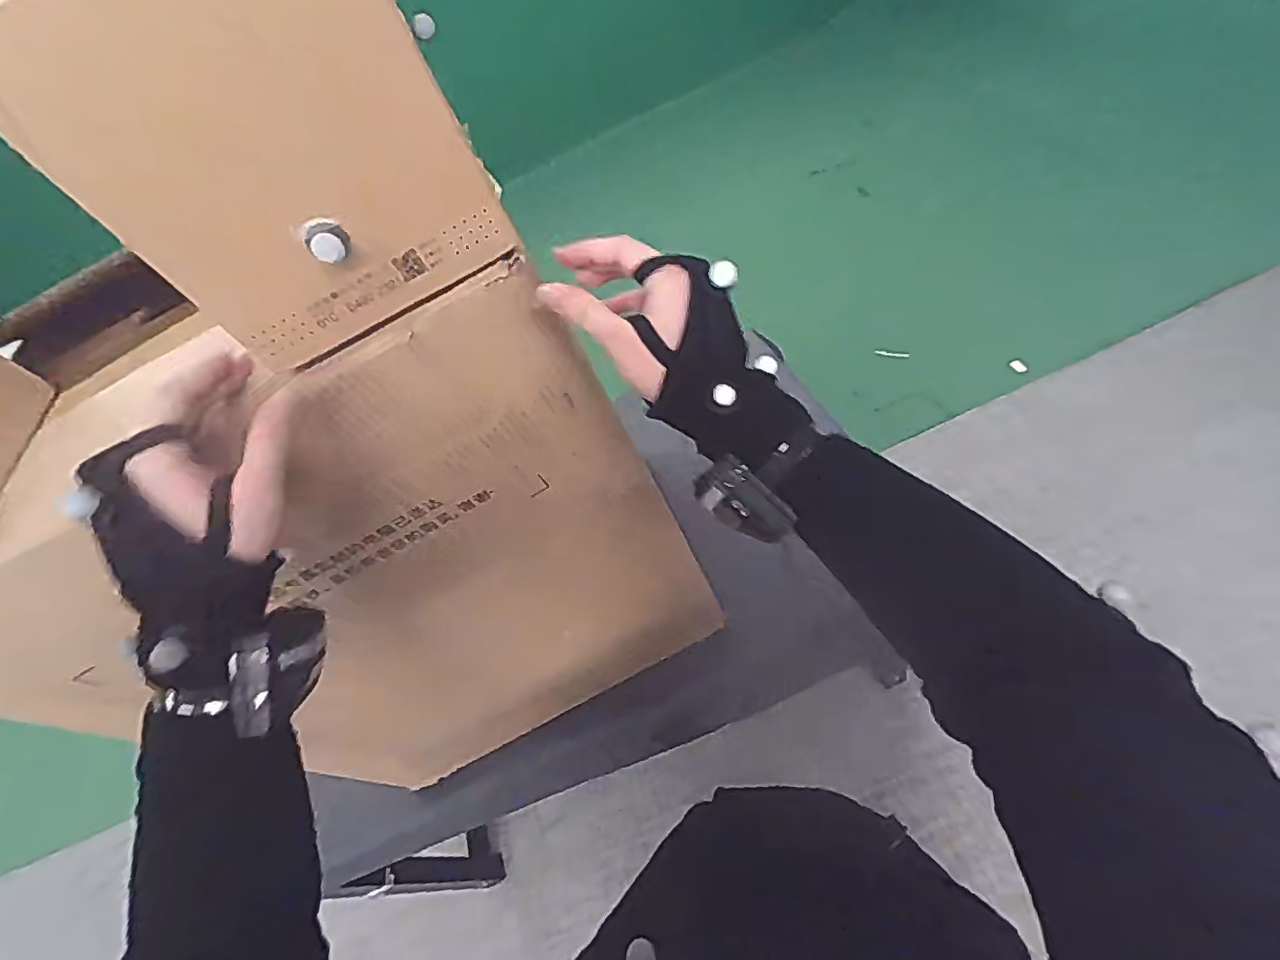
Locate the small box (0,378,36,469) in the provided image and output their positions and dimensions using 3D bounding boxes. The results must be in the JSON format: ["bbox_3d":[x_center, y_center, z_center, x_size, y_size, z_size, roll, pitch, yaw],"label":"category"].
[{"bbox_3d":[-0.538,-0.014,0.321,0.168,0.176,0.179,-30,52,3],"label":"small box"}]

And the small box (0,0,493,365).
[{"bbox_3d":[-0.207,-0.199,0.304,0.168,0.176,0.179,-29,52,2],"label":"small box"}]
